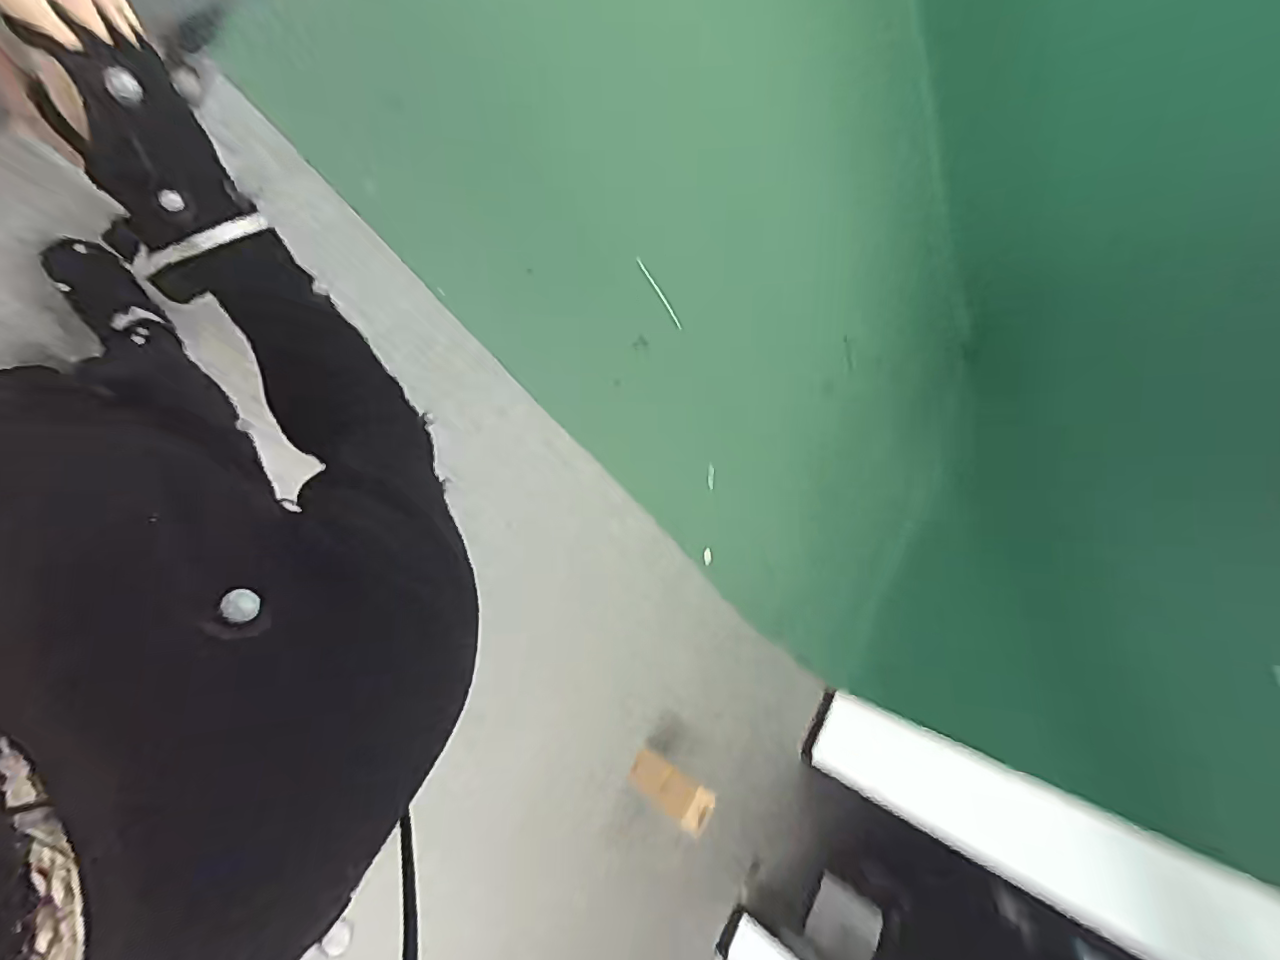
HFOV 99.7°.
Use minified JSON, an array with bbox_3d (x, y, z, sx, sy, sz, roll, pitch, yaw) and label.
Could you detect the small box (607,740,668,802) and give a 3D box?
[{"bbox_3d":[-0.014,1.284,2.395,0.168,0.176,0.179,-56,132,-18],"label":"small box"}]
